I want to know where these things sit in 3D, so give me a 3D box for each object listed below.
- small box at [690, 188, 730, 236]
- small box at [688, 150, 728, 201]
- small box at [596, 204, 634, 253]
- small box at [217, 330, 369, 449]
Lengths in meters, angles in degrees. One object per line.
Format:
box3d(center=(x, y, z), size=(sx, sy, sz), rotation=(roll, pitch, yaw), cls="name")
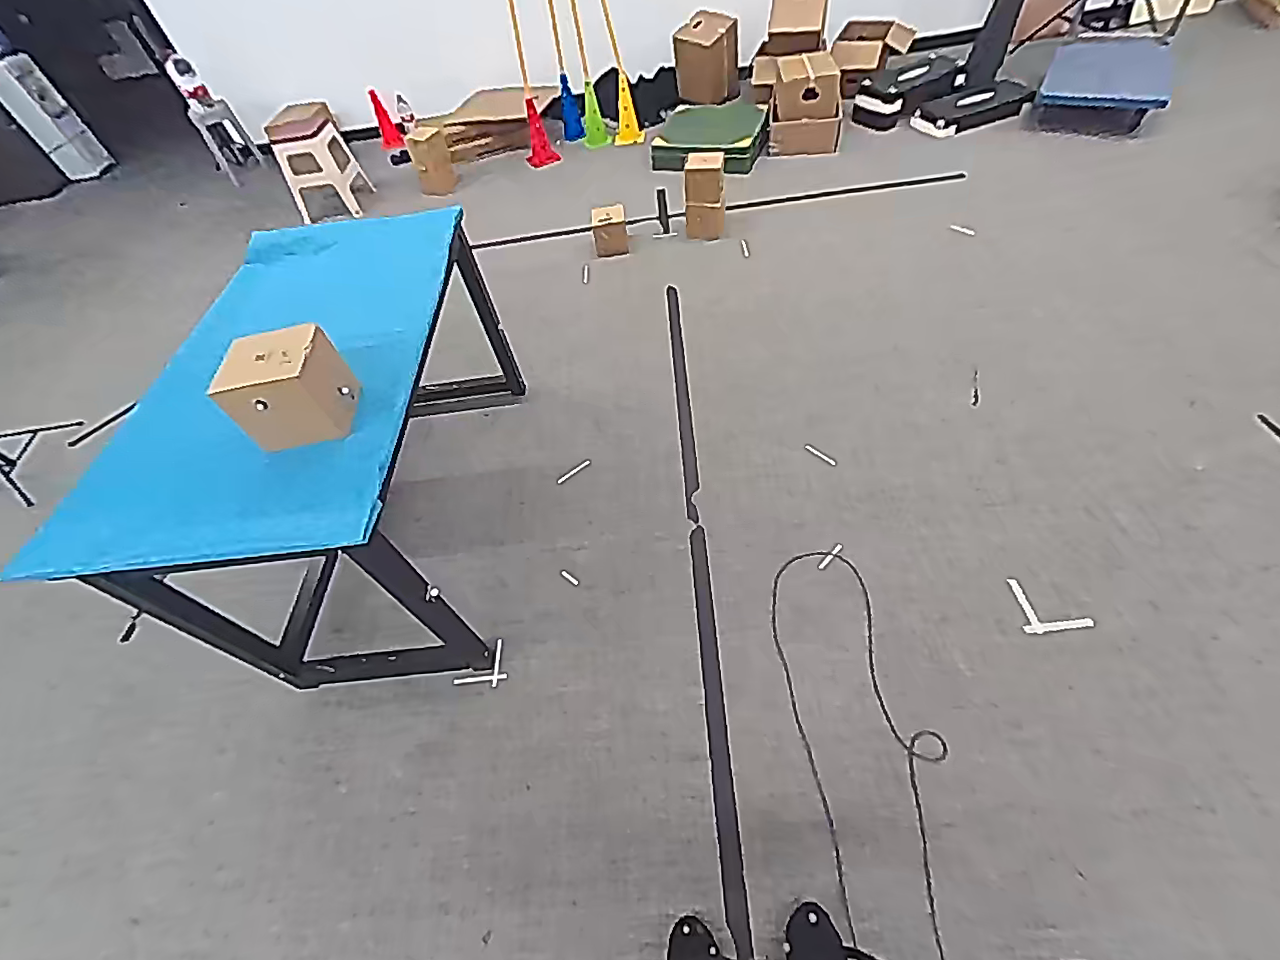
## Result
box3d(center=(0.360, -1.367, 2.759), size=(0.179, 0.176, 0.168), rotation=(8, 54, 13), cls="small box")
box3d(center=(0.336, -1.488, 2.647), size=(0.179, 0.176, 0.168), rotation=(6, 54, 12), cls="small box")
box3d(center=(-0.127, -1.285, 2.775), size=(0.168, 0.176, 0.179), rotation=(-8, 51, 4), cls="small box")
box3d(center=(-0.691, -0.178, 1.101), size=(0.179, 0.176, 0.168), rotation=(-7, 53, 2), cls="small box")
